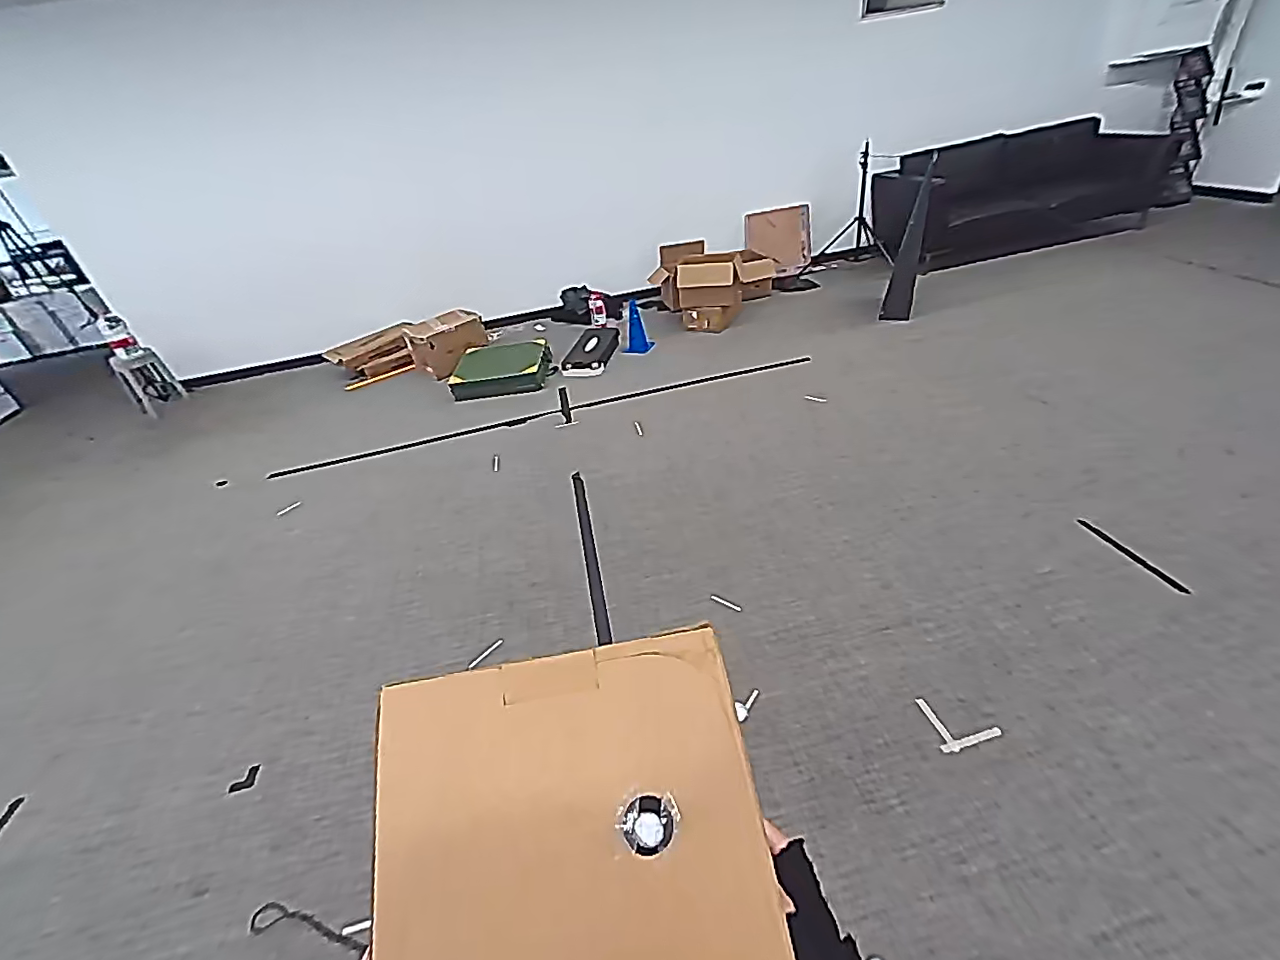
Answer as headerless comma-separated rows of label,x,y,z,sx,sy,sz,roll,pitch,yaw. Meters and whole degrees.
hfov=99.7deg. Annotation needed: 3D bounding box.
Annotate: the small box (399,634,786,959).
small box,-0.021,0.202,0.318,0.168,0.179,0.176,-10,65,0
